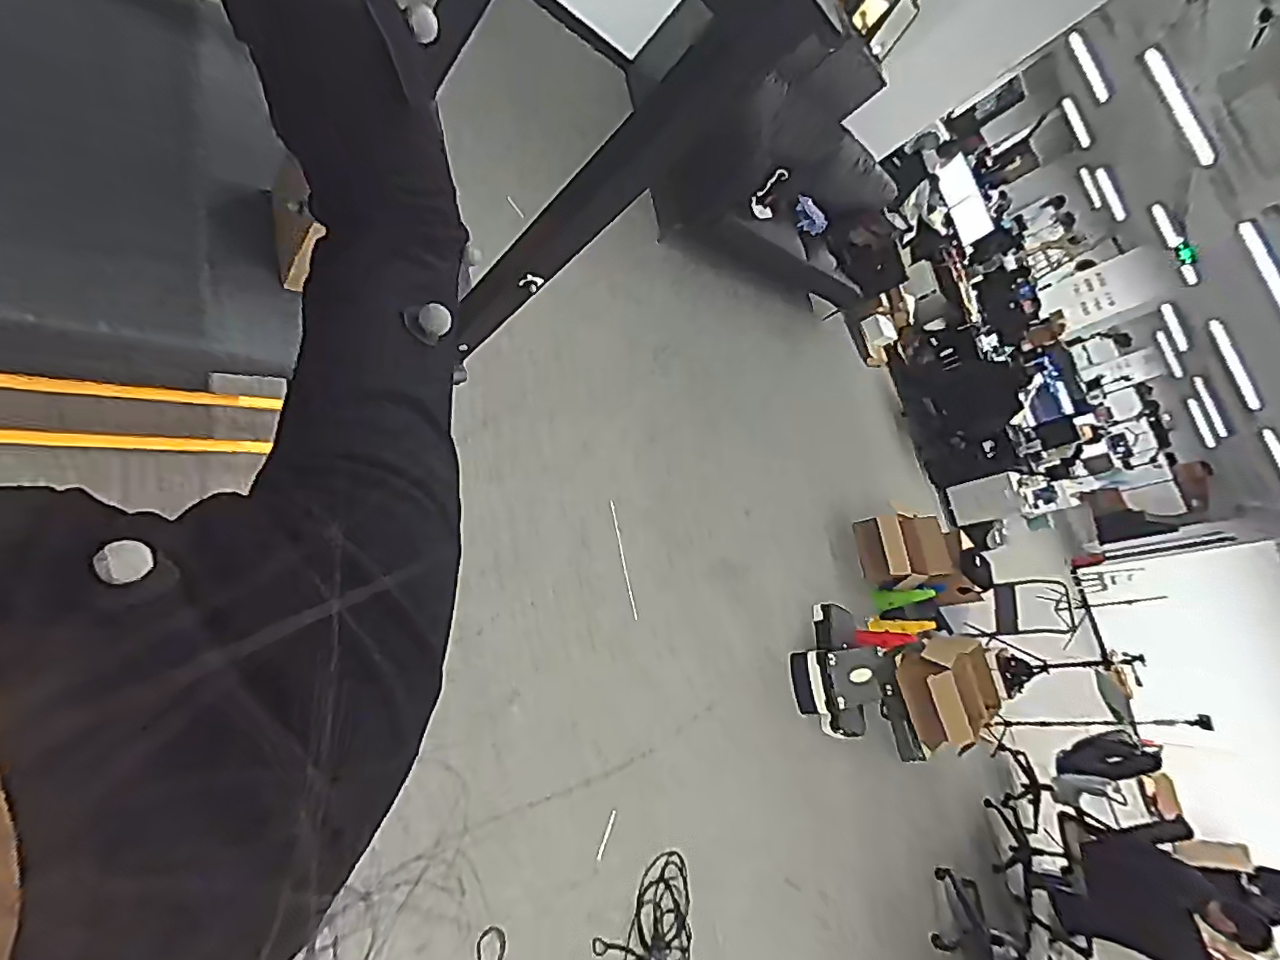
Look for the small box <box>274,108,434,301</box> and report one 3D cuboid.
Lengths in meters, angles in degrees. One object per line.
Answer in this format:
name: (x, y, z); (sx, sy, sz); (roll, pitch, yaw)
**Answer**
small box: (-0.440, -0.401, 0.827); (0.168, 0.176, 0.179); (-1, 73, -47)
